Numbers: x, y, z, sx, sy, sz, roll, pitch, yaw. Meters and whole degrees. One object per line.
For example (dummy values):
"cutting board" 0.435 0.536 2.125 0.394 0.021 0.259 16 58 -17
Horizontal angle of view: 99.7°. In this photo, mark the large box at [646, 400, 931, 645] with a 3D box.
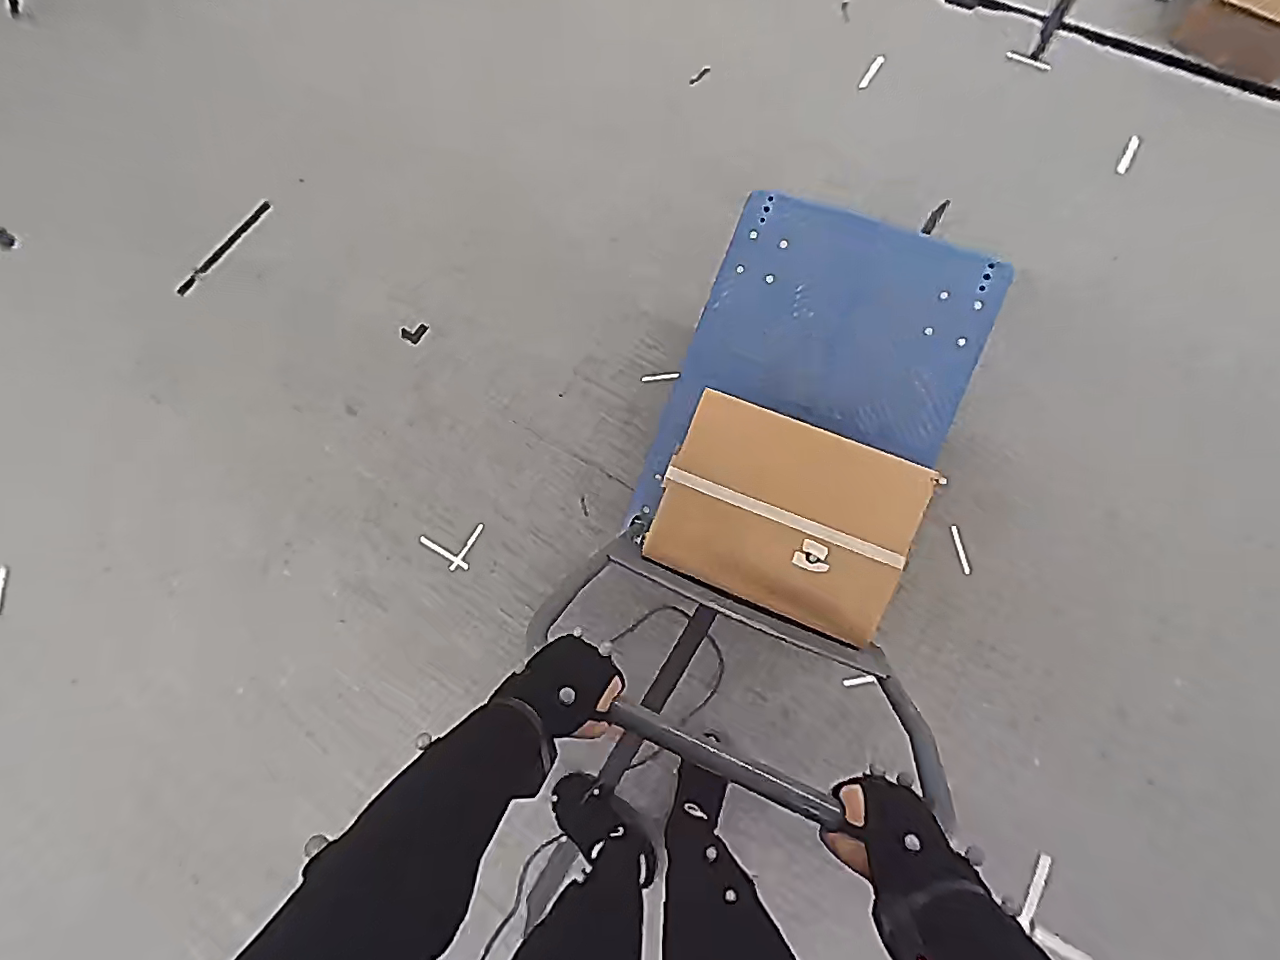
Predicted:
"large box" 0.264 0.068 1.066 0.408 0.320 0.320 21 94 8
